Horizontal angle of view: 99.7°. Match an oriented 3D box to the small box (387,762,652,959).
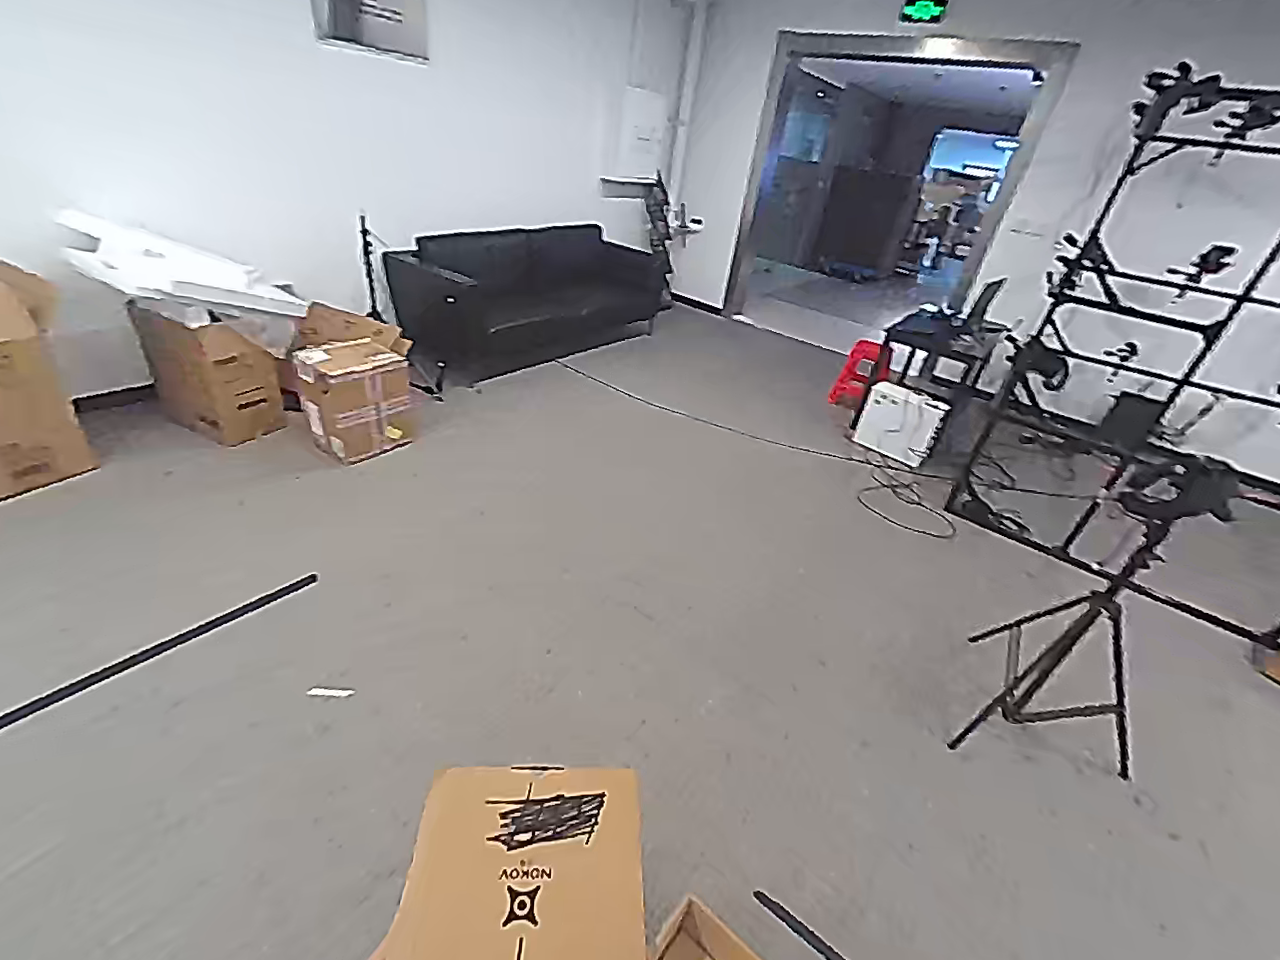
[{"bbox_3d":[-0.083,0.345,0.410,0.168,0.176,0.179,3,32,-6],"label":"small box"}]
